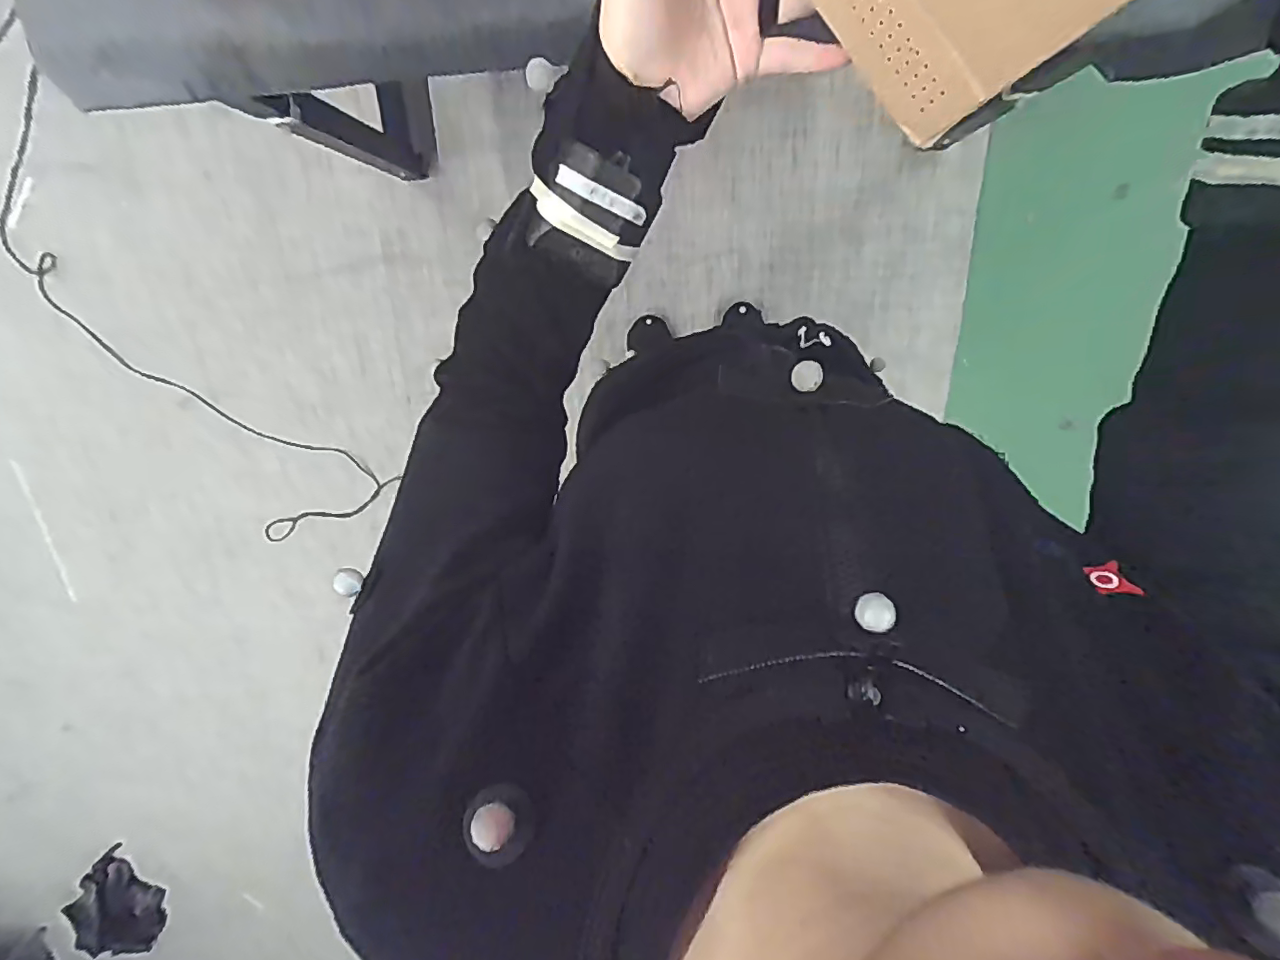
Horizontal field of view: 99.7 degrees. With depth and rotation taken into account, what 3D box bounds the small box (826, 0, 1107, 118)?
[{"bbox_3d":[0.141,-0.264,0.159,0.179,0.176,0.168,44,90,-13],"label":"small box"}]
